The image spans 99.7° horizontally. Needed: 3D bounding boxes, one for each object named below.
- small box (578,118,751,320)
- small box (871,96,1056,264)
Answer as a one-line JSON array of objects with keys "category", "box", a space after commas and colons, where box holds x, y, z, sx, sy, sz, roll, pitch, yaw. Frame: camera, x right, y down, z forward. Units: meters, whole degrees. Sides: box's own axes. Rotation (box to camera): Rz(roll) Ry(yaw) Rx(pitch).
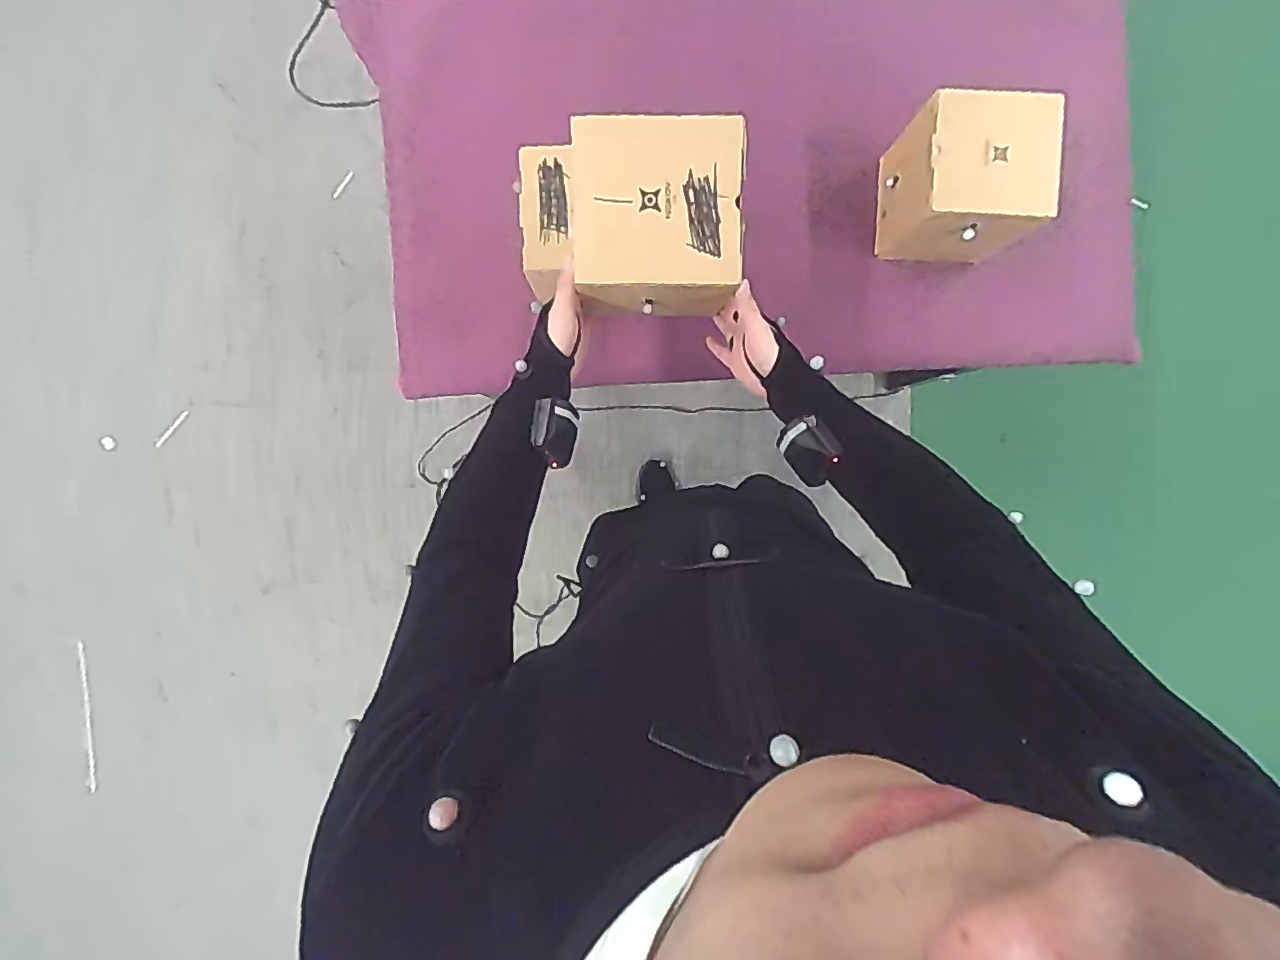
[{"category": "small box", "box": [0.021, -0.286, 0.628, 0.179, 0.176, 0.168, 0, 96, -2]}, {"category": "small box", "box": [0.477, -0.440, 0.819, 0.179, 0.176, 0.168, 2, 92, -1]}]
